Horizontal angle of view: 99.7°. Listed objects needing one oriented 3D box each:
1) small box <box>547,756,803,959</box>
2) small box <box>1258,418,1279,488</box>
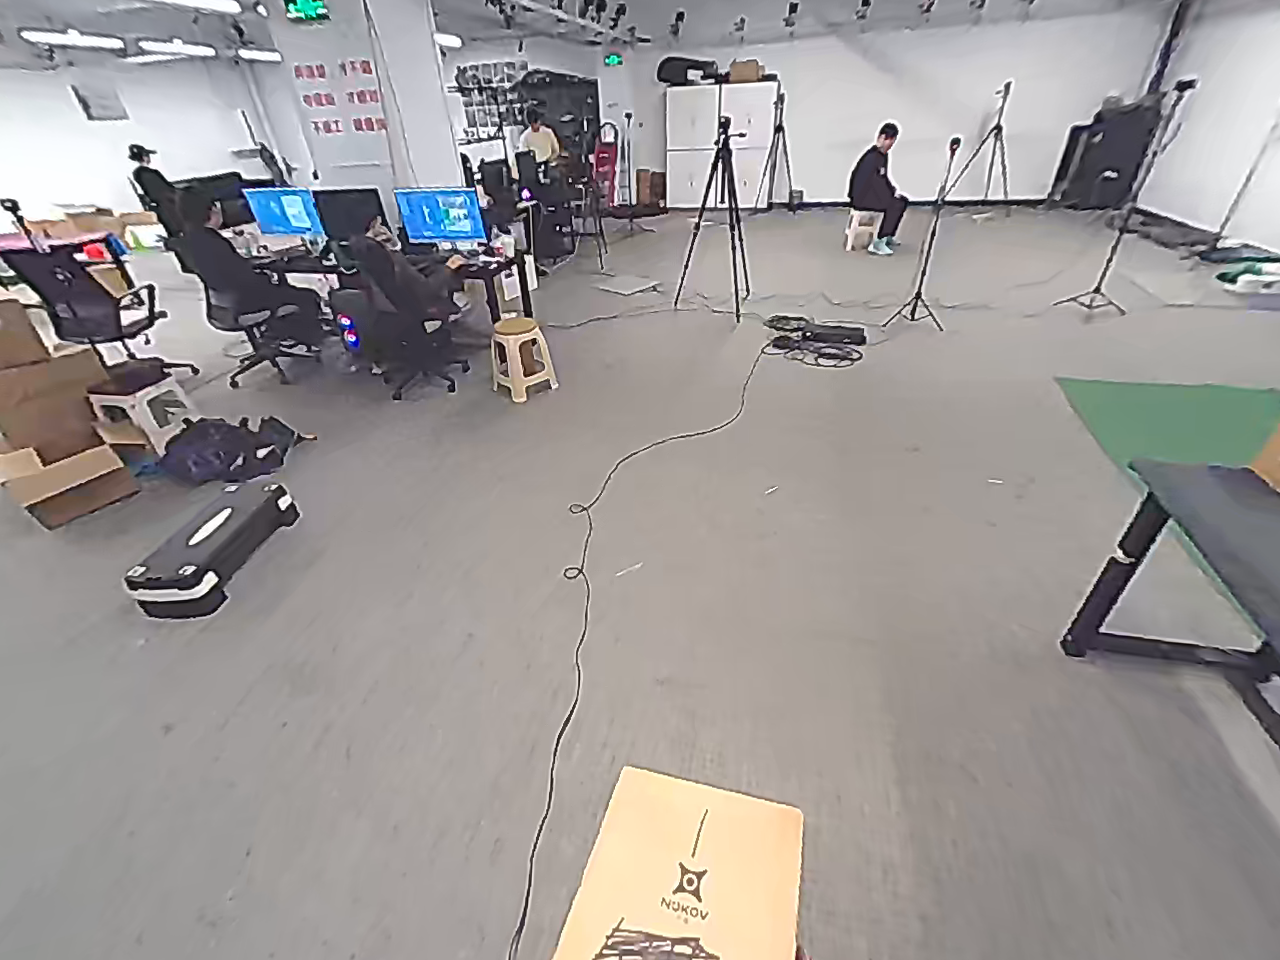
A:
[{"bbox_3d":[0.042,0.375,0.449,0.168,0.176,0.179,5,31,18],"label":"small box"},{"bbox_3d":[1.681,-0.057,1.312,0.179,0.176,0.168,5,38,13],"label":"small box"}]
